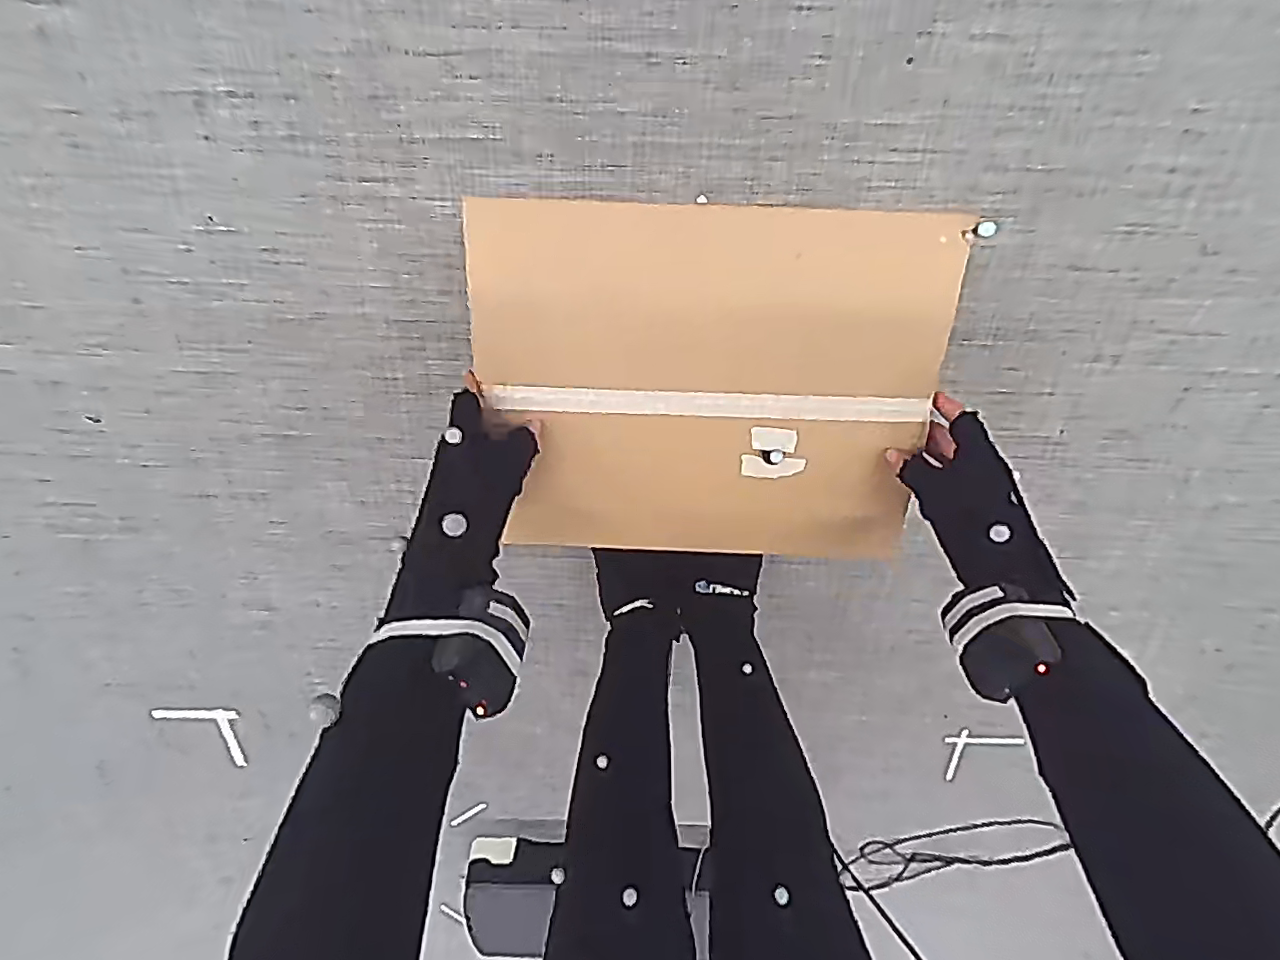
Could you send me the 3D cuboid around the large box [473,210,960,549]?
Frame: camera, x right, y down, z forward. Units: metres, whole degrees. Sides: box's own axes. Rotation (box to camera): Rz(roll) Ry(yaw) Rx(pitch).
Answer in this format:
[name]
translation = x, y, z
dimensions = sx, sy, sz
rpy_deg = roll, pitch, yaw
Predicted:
[large box]
translation = 0.060, -0.130, 0.632
dimensions = 0.408, 0.320, 0.320
rpy_deg = 1, 114, 0
